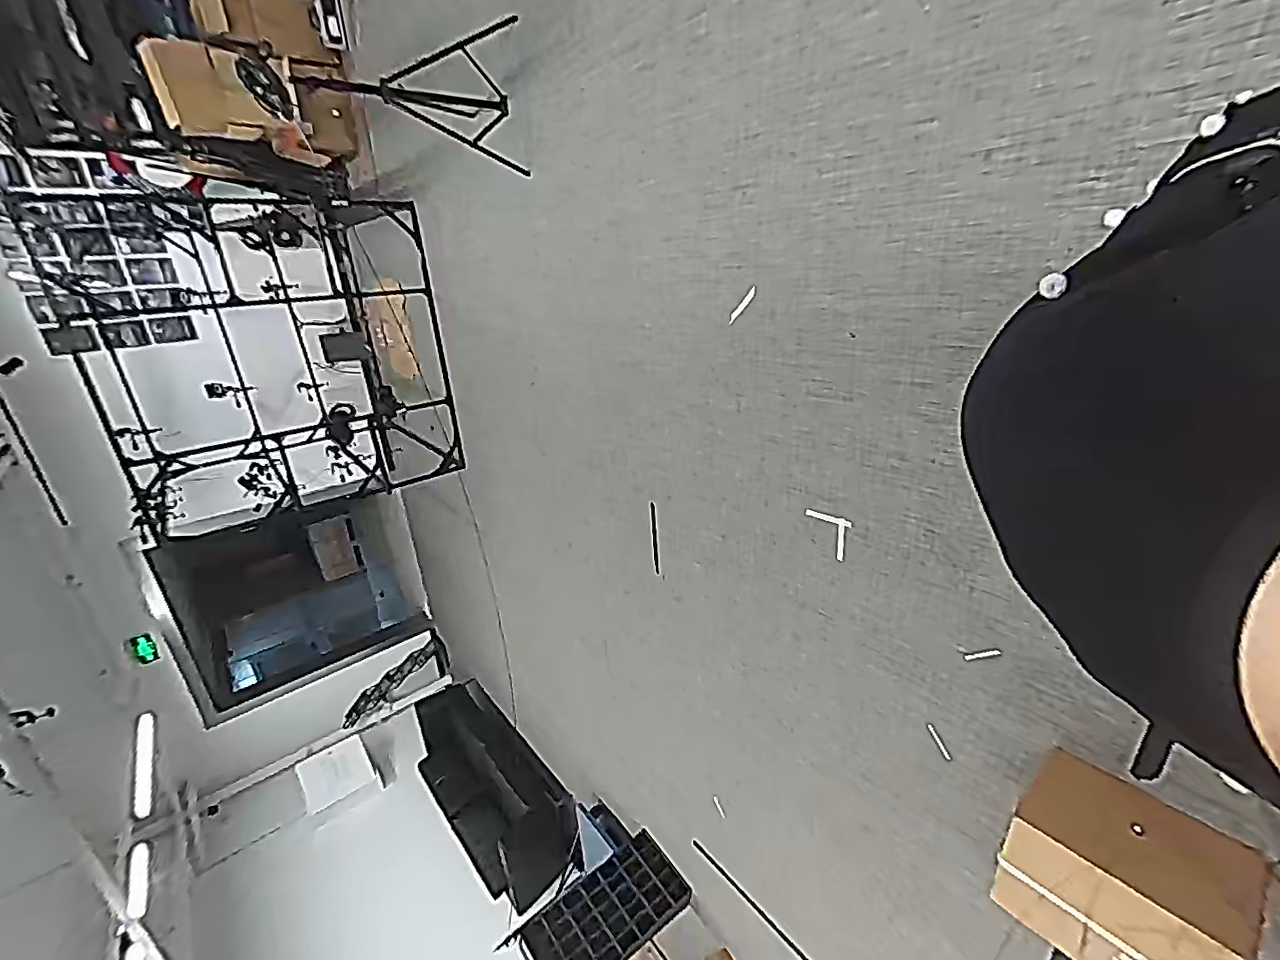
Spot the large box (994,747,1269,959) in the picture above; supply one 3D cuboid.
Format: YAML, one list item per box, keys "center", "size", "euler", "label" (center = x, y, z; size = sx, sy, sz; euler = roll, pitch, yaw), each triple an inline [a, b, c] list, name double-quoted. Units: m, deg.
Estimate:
- center: [1.151, 0.945, 1.298]
  size: [0.408, 0.320, 0.320]
  euler: [22, 122, 46]
  label: "large box"
